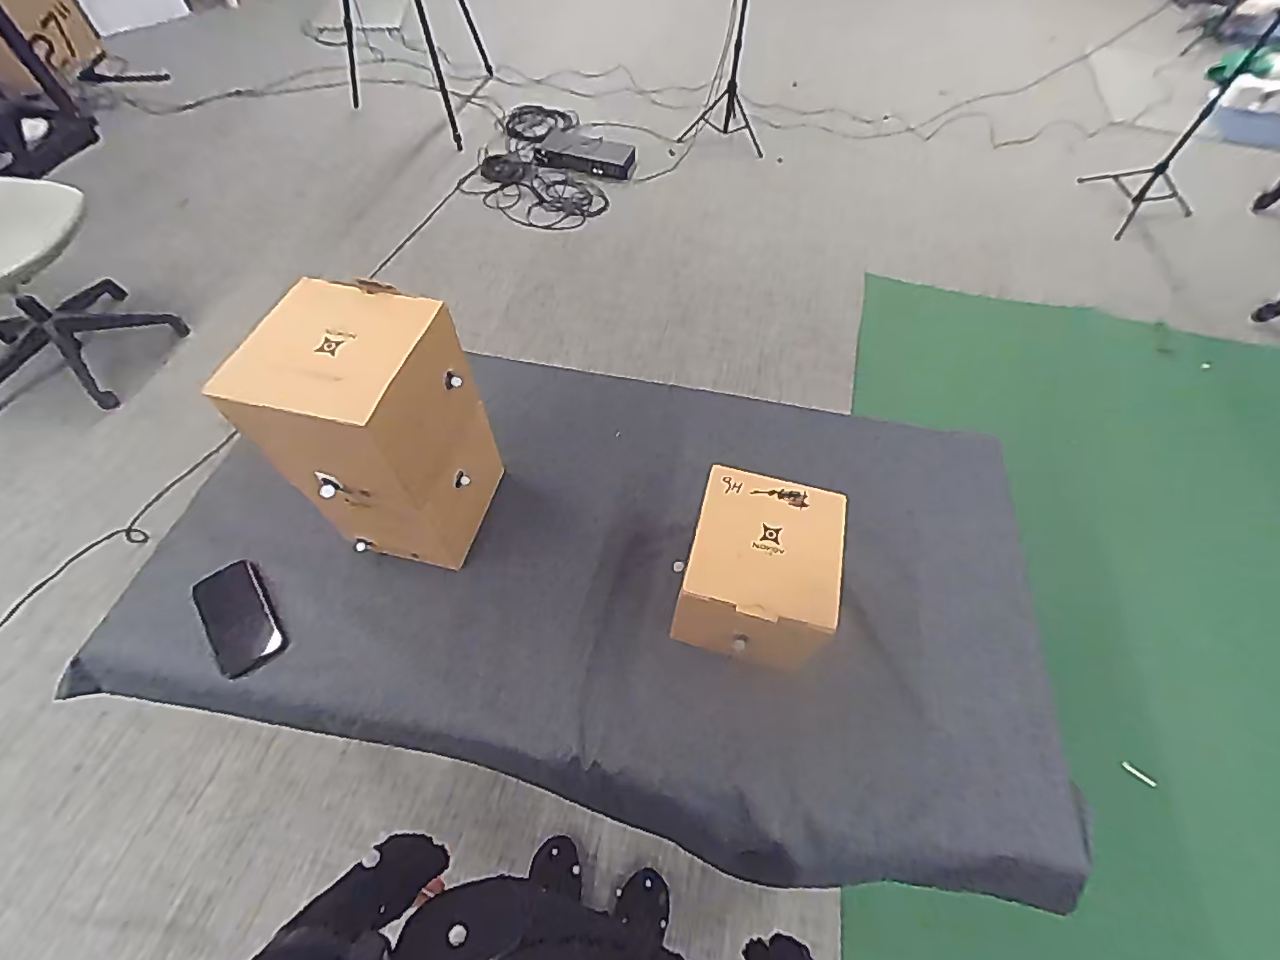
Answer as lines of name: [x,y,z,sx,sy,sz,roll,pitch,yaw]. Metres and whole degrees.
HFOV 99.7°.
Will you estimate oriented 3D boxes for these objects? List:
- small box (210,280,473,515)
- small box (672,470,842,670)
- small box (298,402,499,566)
small box: [-0.303,-0.087,0.601,0.168,0.176,0.179,11,58,6]
small box: [0.139,0.119,0.677,0.168,0.176,0.179,14,57,7]
small box: [-0.308,-0.003,0.739,0.168,0.176,0.179,12,56,6]
